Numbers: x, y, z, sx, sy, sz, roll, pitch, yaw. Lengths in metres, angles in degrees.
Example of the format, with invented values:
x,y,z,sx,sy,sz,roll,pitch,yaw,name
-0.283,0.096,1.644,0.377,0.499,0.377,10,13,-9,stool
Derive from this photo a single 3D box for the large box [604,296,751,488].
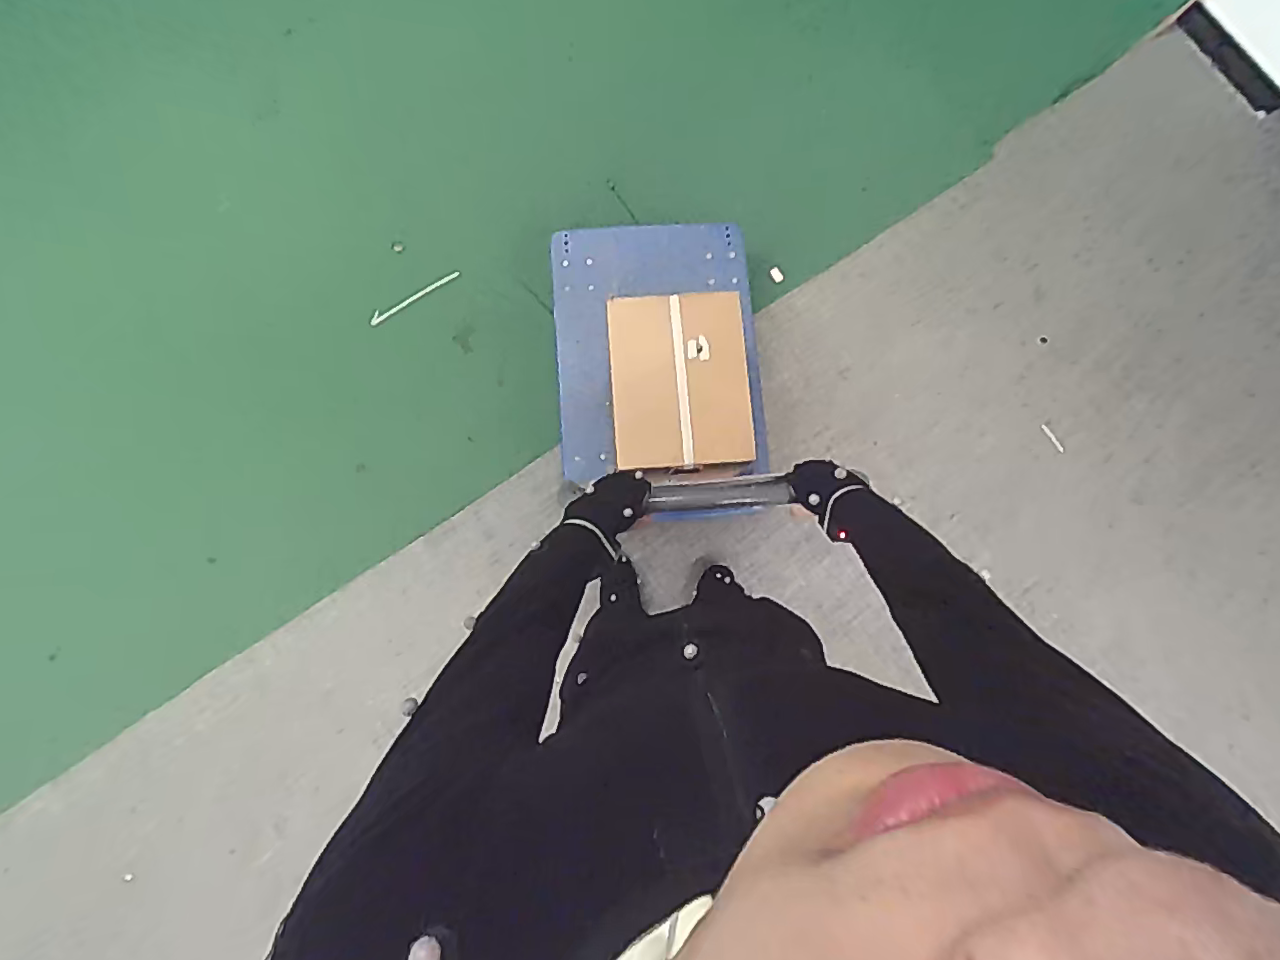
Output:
x,y,z,sx,sy,sz,roll,pitch,yaw,name
0.079,-0.206,1.388,0.320,0.320,0.408,-4,81,-3,large box
